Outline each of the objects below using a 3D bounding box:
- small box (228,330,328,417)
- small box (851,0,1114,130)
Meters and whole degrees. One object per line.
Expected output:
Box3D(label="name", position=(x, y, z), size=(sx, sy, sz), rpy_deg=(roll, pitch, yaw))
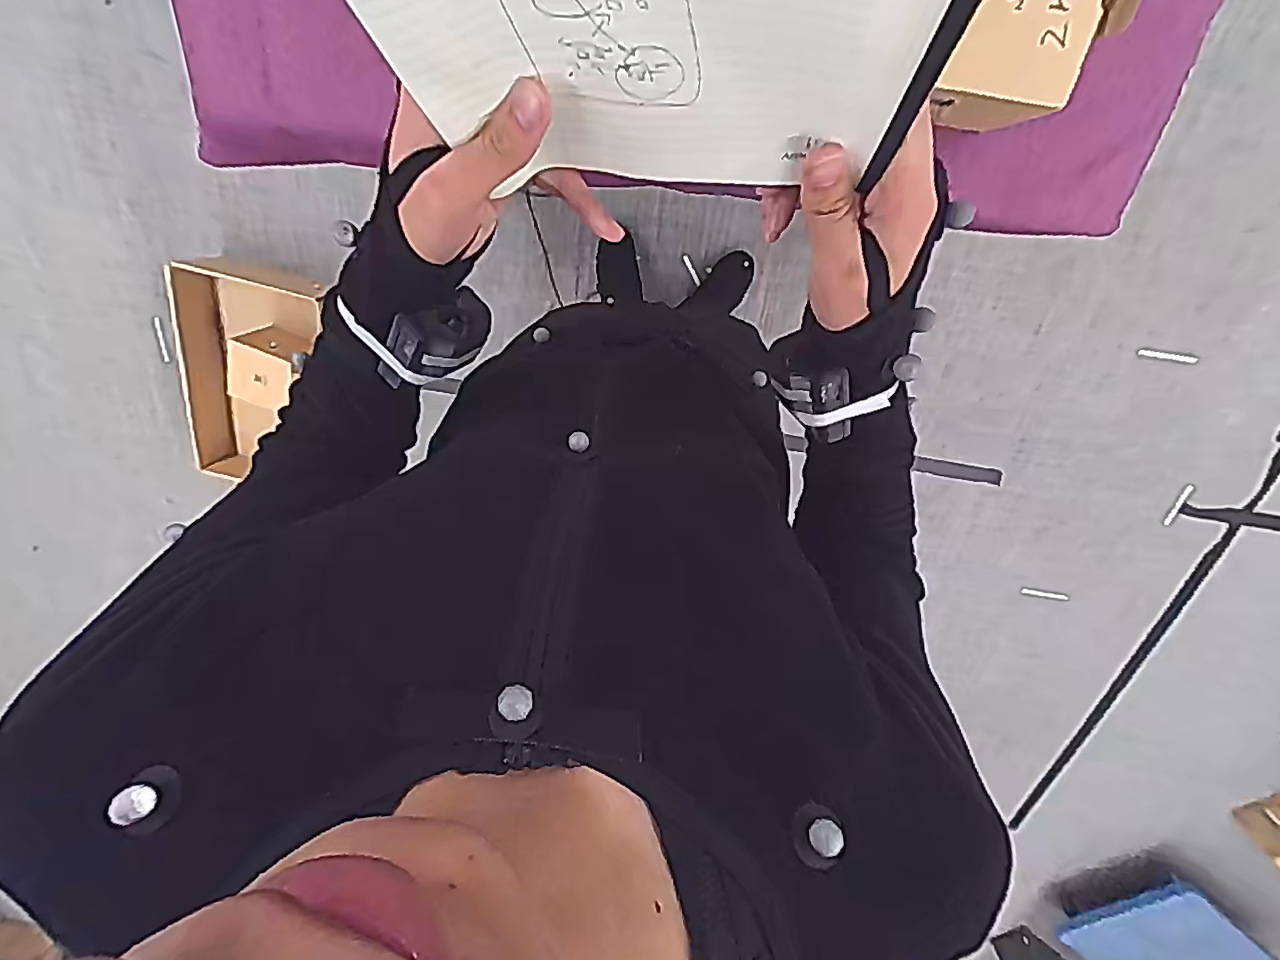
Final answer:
Box3D(label="small box", position=(-1.012, -0.305, 1.520), size=(0.179, 0.176, 0.168), rpy_deg=(21, 117, -6))
Box3D(label="small box", position=(0.337, -0.470, 0.546), size=(0.179, 0.176, 0.168), rpy_deg=(10, 117, 0))
